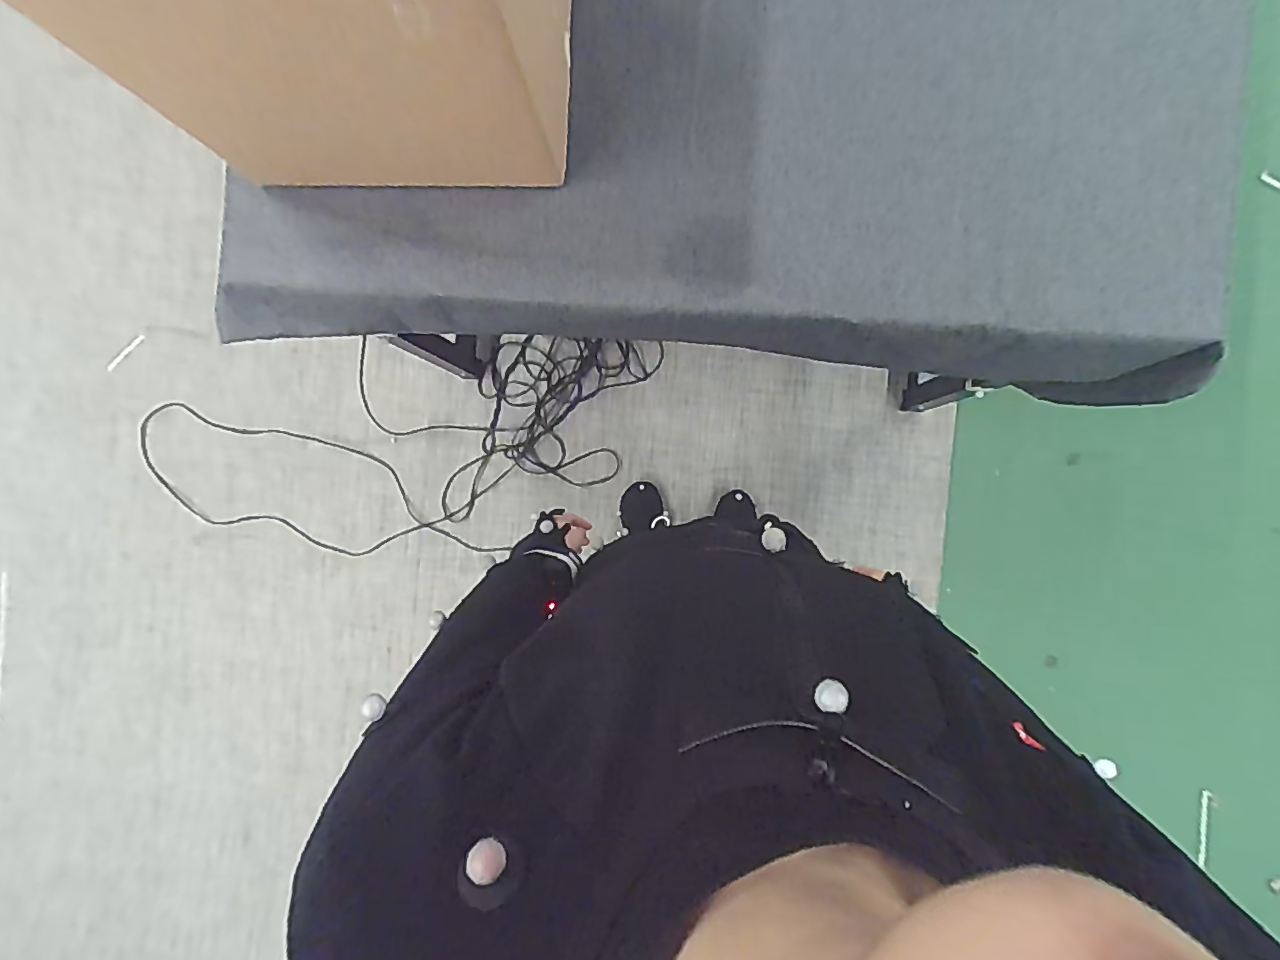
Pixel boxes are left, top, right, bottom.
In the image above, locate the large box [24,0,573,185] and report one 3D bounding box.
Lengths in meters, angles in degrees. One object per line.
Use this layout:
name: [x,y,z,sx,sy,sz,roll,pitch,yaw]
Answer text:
large box: [-0.289,-0.524,0.530,0.408,0.320,0.320,1,90,3]
